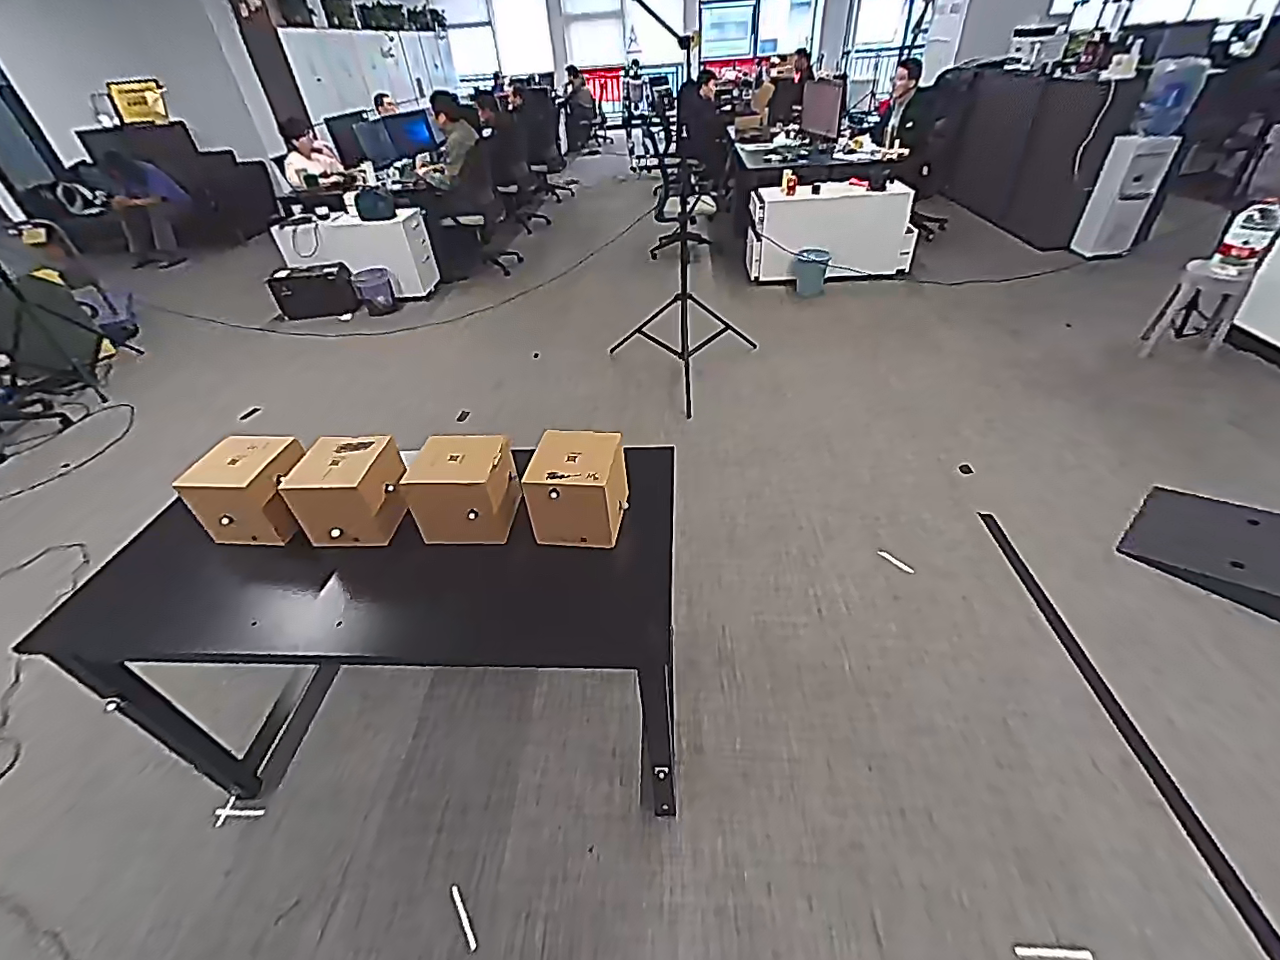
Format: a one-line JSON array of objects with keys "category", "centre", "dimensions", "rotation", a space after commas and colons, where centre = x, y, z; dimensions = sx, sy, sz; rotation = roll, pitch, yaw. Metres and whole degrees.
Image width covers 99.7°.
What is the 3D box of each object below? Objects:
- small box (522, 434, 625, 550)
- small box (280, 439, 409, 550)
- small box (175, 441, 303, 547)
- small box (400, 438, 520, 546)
[{"category": "small box", "centre": [-0.128, 0.022, 1.123], "dimensions": [0.168, 0.176, 0.179], "rotation": [2, 38, 9]}, {"category": "small box", "centre": [-0.616, 0.030, 1.163], "dimensions": [0.168, 0.176, 0.179], "rotation": [-2, 40, 3]}, {"category": "small box", "centre": [-0.839, 0.031, 1.187], "dimensions": [0.168, 0.176, 0.179], "rotation": [2, 39, 6]}, {"category": "small box", "centre": [-0.368, 0.027, 1.146], "dimensions": [0.179, 0.176, 0.168], "rotation": [-2, 38, 5]}]
